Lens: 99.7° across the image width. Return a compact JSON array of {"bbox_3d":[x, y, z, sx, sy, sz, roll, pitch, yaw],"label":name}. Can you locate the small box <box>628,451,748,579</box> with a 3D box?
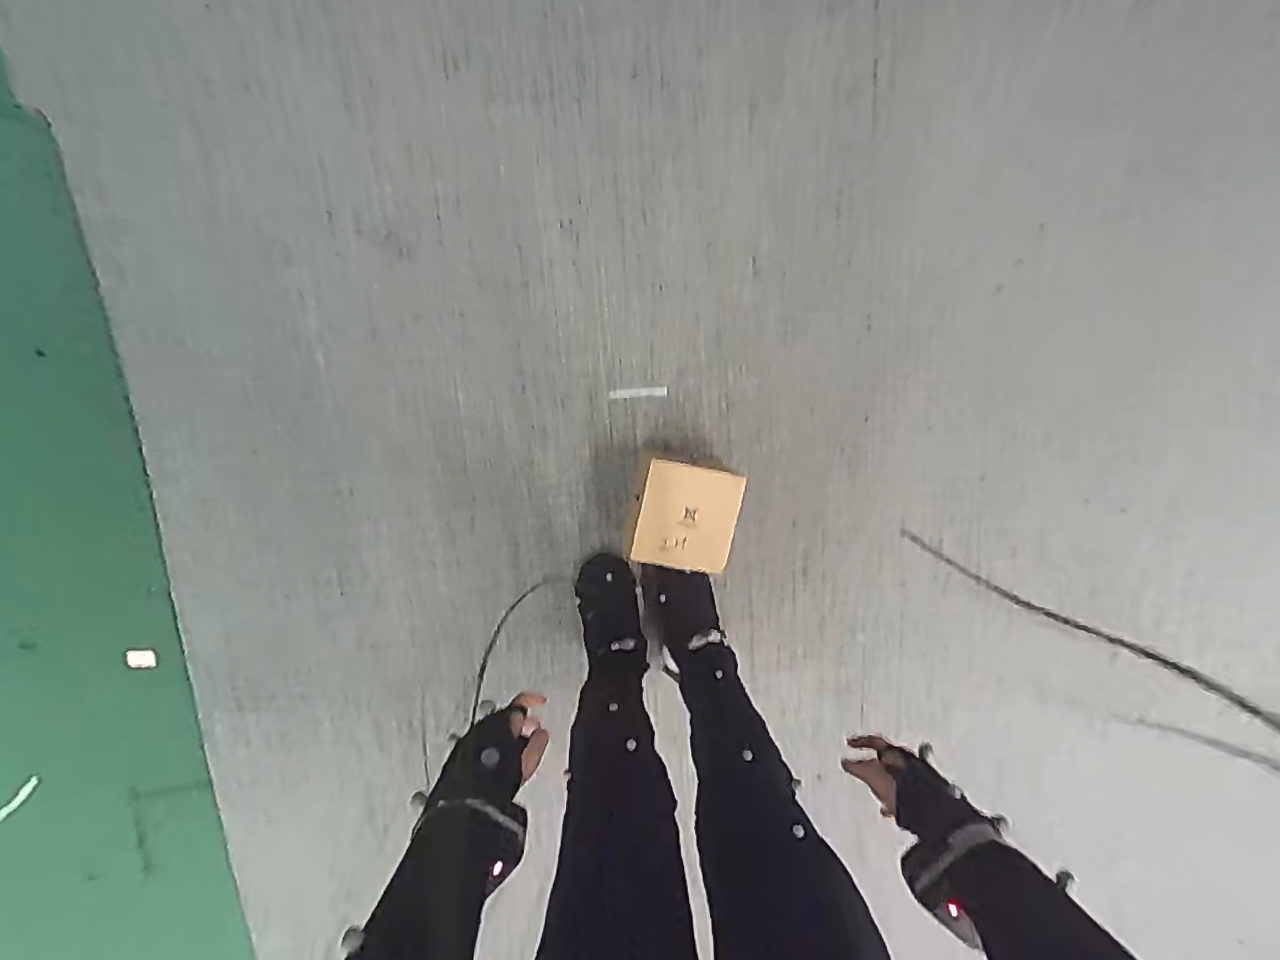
[{"bbox_3d":[0.075,0.054,0.972,0.168,0.176,0.179,11,102,-7],"label":"small box"}]
